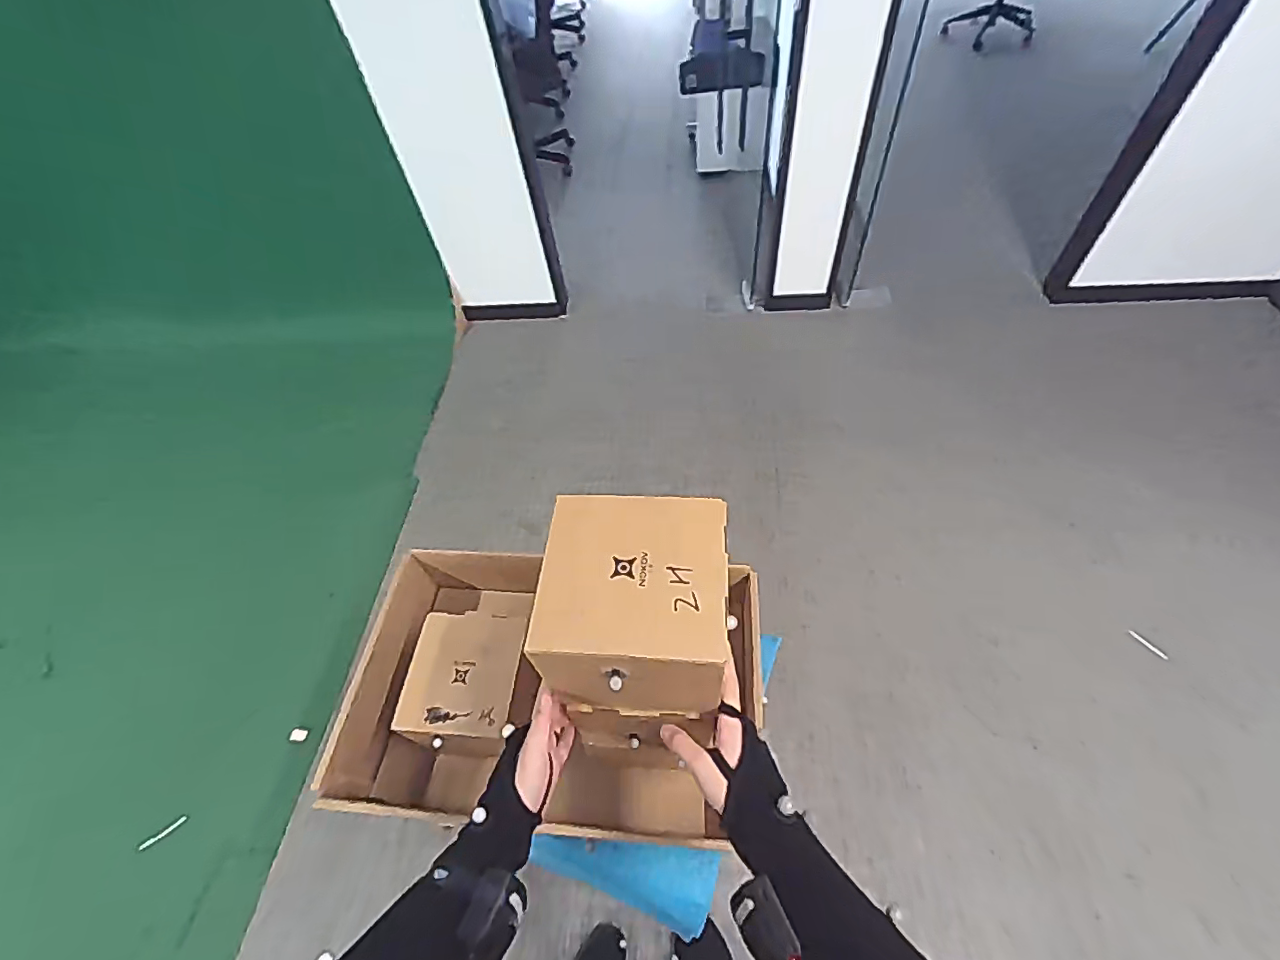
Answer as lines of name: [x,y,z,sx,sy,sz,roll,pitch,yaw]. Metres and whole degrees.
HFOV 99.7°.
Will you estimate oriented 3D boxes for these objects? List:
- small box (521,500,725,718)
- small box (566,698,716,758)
small box: [-0.004,0.138,0.564,0.179,0.176,0.168,3,53,6]
small box: [0.010,0.239,0.694,0.168,0.176,0.179,2,53,6]
